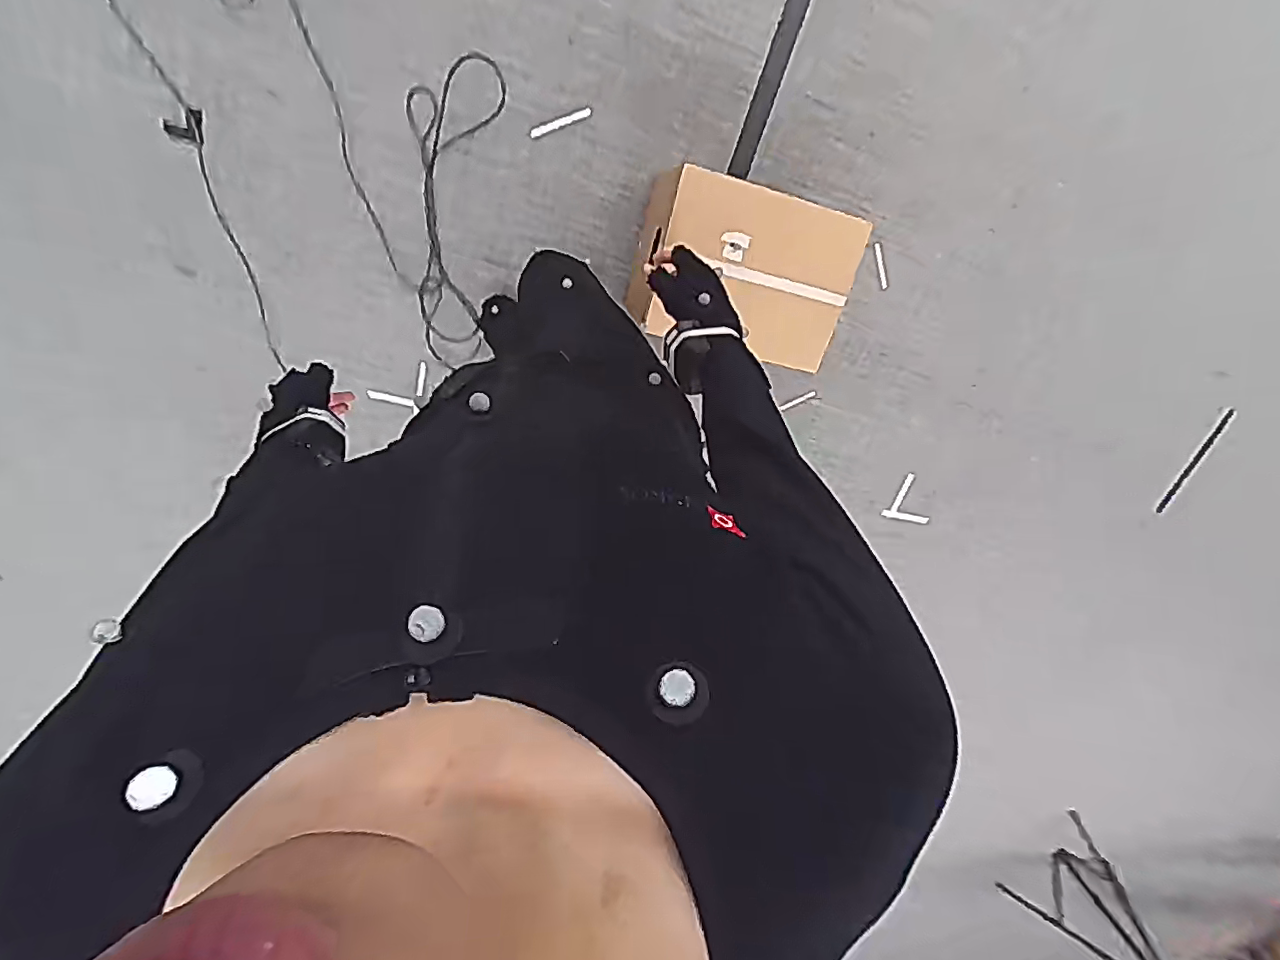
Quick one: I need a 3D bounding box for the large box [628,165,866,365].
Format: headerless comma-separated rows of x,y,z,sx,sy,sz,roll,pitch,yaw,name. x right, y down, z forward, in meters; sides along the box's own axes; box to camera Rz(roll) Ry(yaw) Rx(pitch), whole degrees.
0.211,-0.482,1.228,0.408,0.320,0.320,10,113,-13,large box
